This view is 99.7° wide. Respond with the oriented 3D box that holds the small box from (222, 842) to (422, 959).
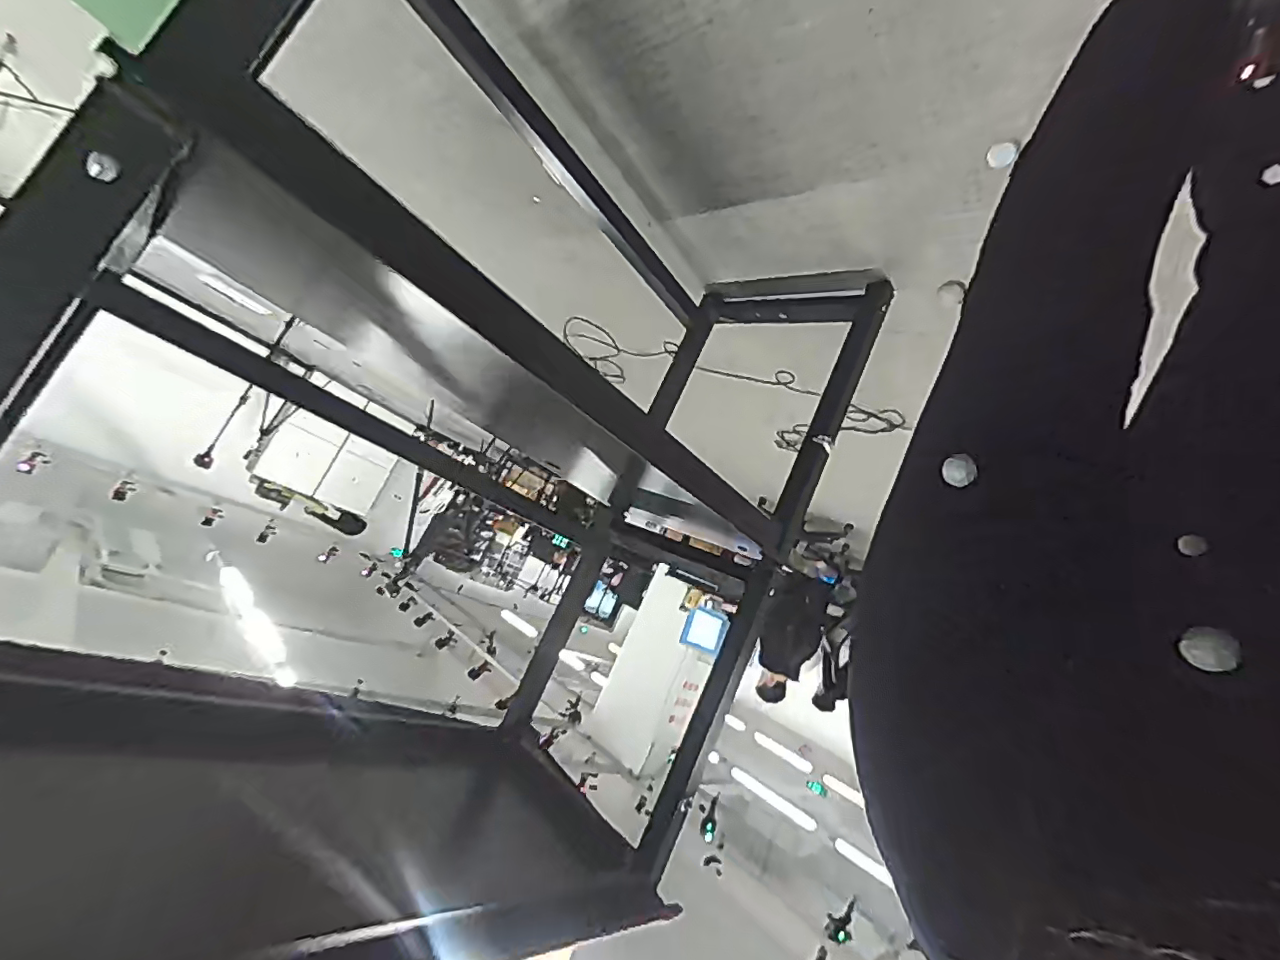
[{"bbox_3d":[-0.451,0.658,0.779,0.168,0.176,0.179,18,167,45],"label":"small box"}]
